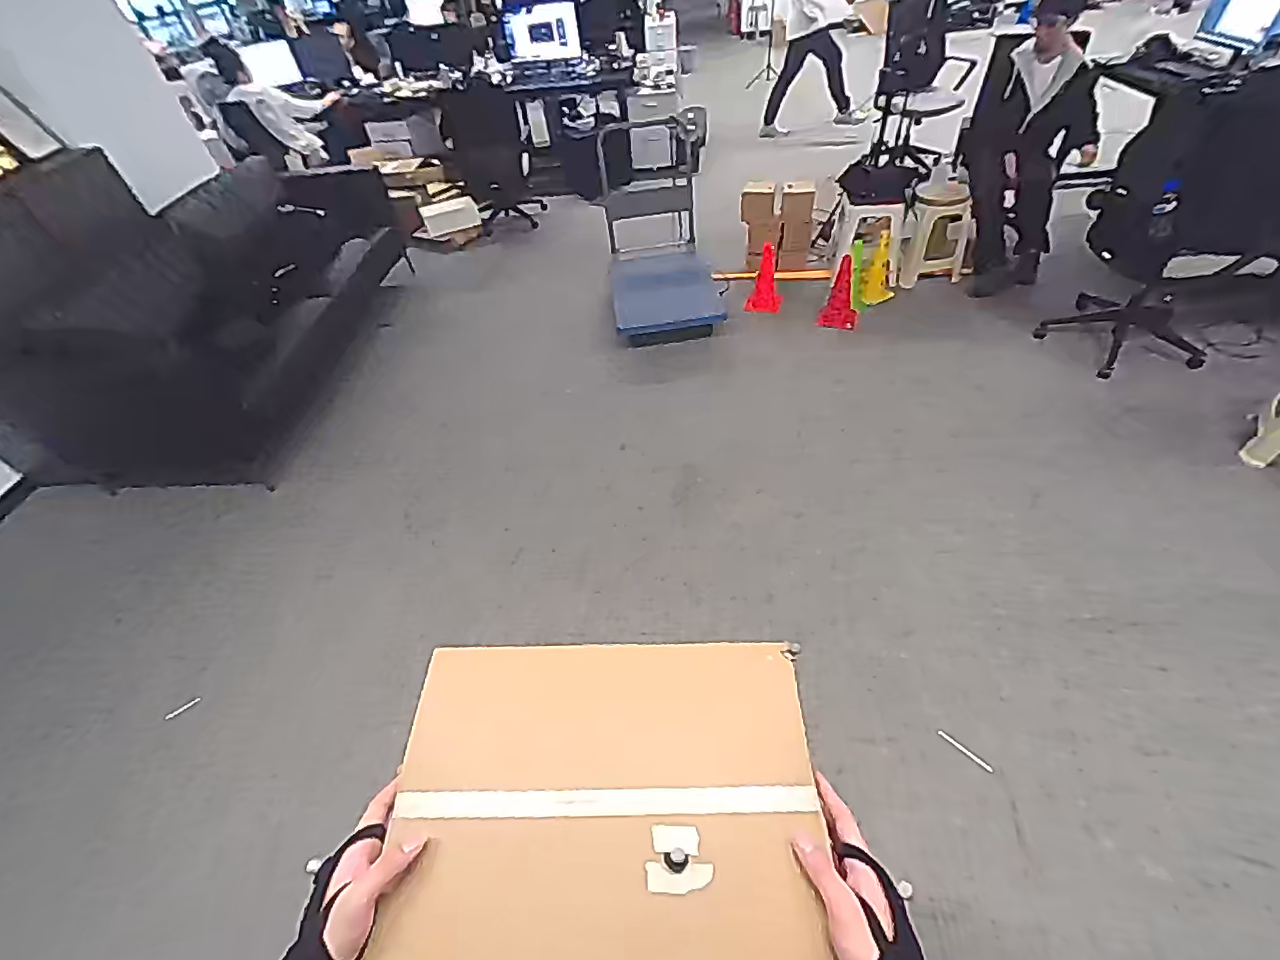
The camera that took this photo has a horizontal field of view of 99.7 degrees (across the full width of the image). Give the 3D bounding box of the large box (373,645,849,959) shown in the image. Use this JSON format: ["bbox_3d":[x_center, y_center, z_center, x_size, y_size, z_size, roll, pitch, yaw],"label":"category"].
[{"bbox_3d":[-0.027,0.410,0.638,0.408,0.320,0.320,-1,49,1],"label":"large box"}]
